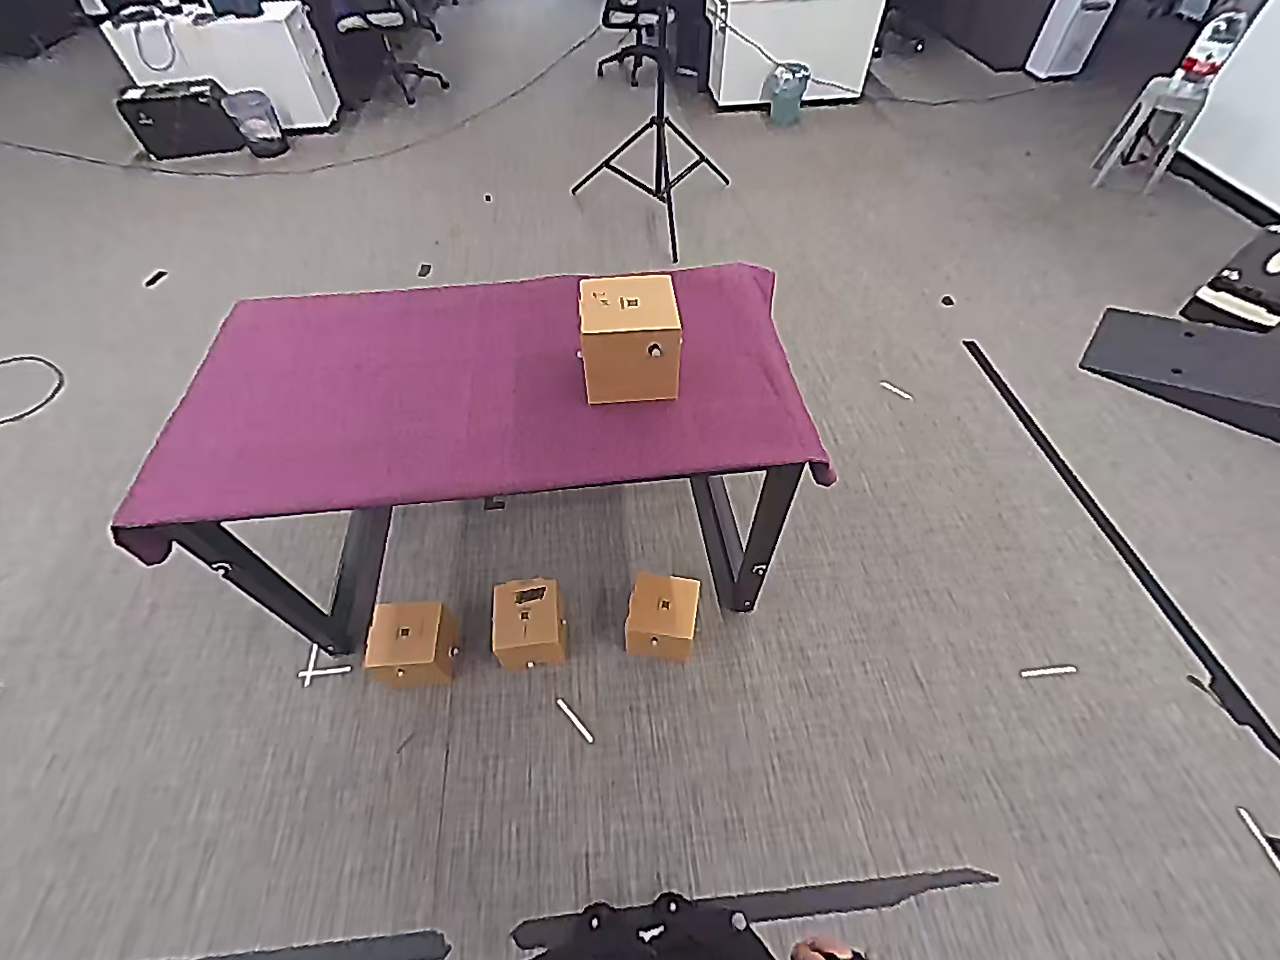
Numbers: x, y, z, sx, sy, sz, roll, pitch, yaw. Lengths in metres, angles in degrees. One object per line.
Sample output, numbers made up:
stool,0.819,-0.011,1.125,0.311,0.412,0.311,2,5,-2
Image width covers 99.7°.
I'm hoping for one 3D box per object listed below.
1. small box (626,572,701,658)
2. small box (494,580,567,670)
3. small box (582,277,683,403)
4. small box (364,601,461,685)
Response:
small box,0.066,0.371,1.467,0.179,0.176,0.168,7,54,8
small box,-0.290,0.391,1.456,0.168,0.176,0.179,-6,54,-3
small box,-0.017,-0.263,1.030,0.179,0.176,0.168,-4,52,-2
small box,-0.592,0.435,1.430,0.179,0.176,0.168,-3,54,-2
